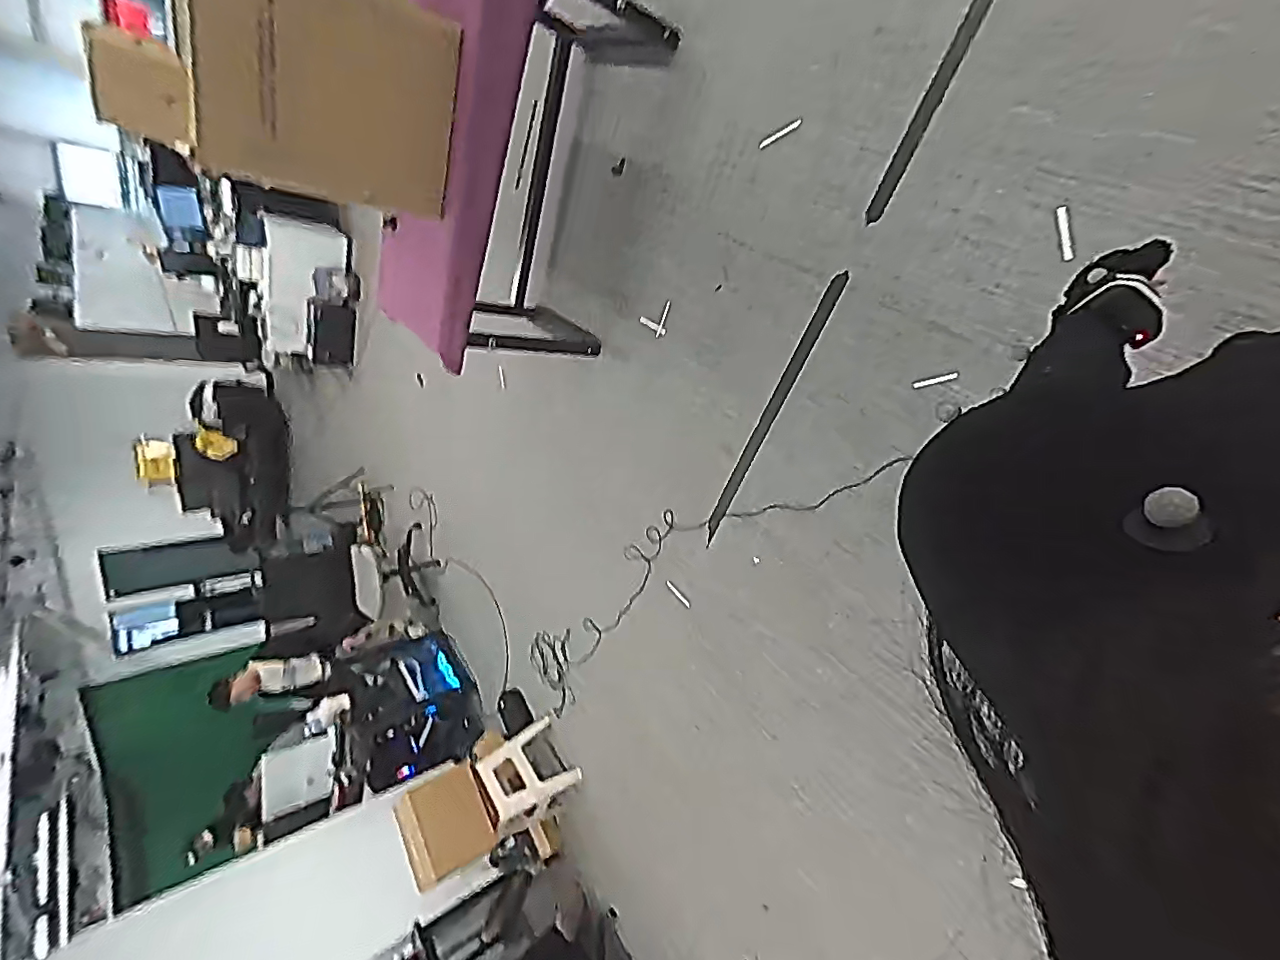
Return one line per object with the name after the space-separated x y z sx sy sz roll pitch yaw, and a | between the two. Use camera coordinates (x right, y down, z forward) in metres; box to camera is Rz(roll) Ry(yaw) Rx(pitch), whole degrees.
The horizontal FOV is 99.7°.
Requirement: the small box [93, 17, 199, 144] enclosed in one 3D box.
-1.199 -0.966 1.319 0.168 0.176 0.179 52 129 27 | small box
